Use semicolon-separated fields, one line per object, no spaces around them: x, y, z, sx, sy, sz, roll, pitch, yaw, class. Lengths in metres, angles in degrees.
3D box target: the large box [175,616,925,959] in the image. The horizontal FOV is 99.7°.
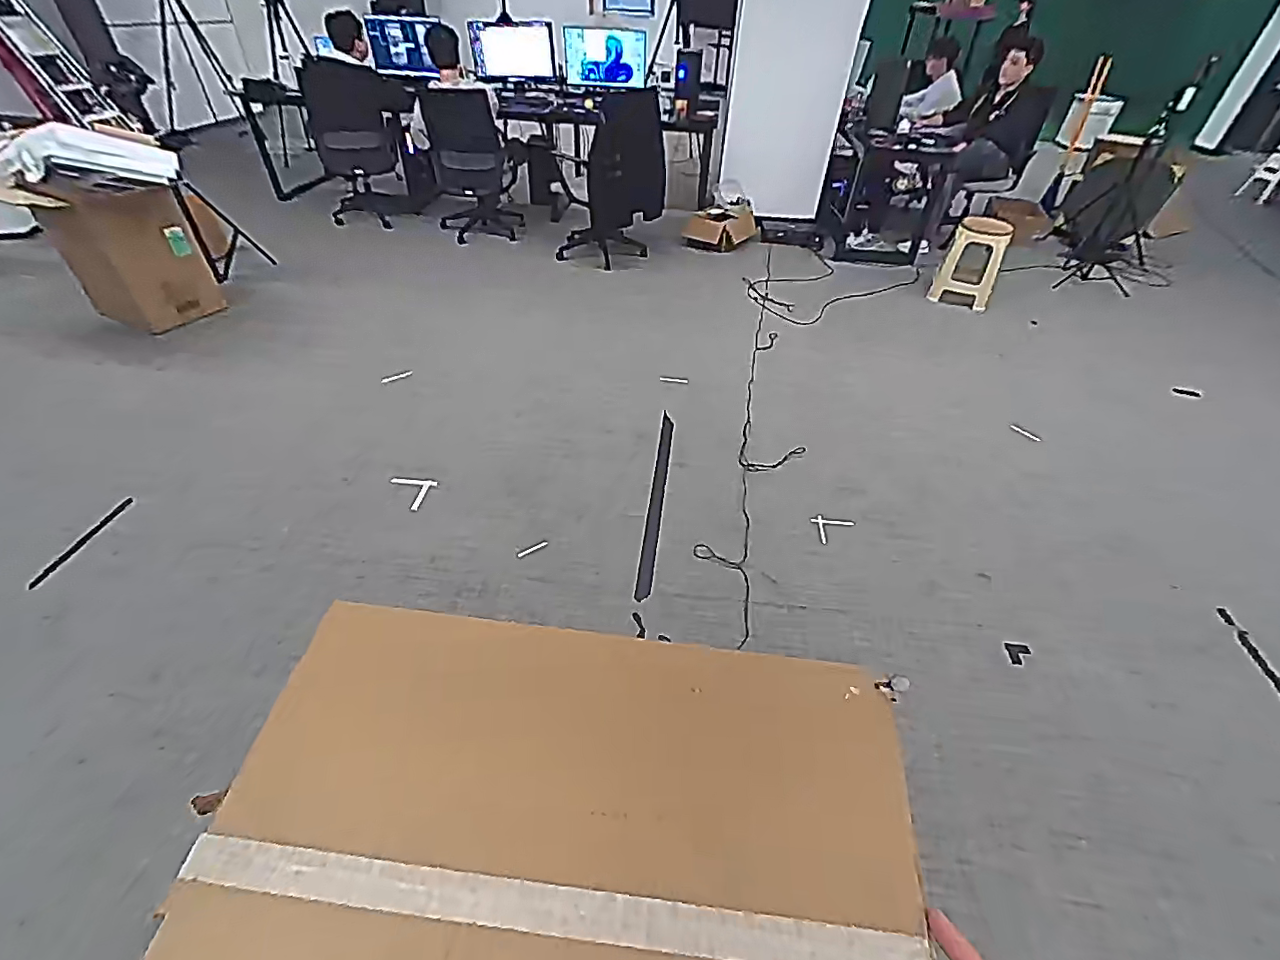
-0.048;0.331;0.419;0.408;0.320;0.320;7;52;2;large box
